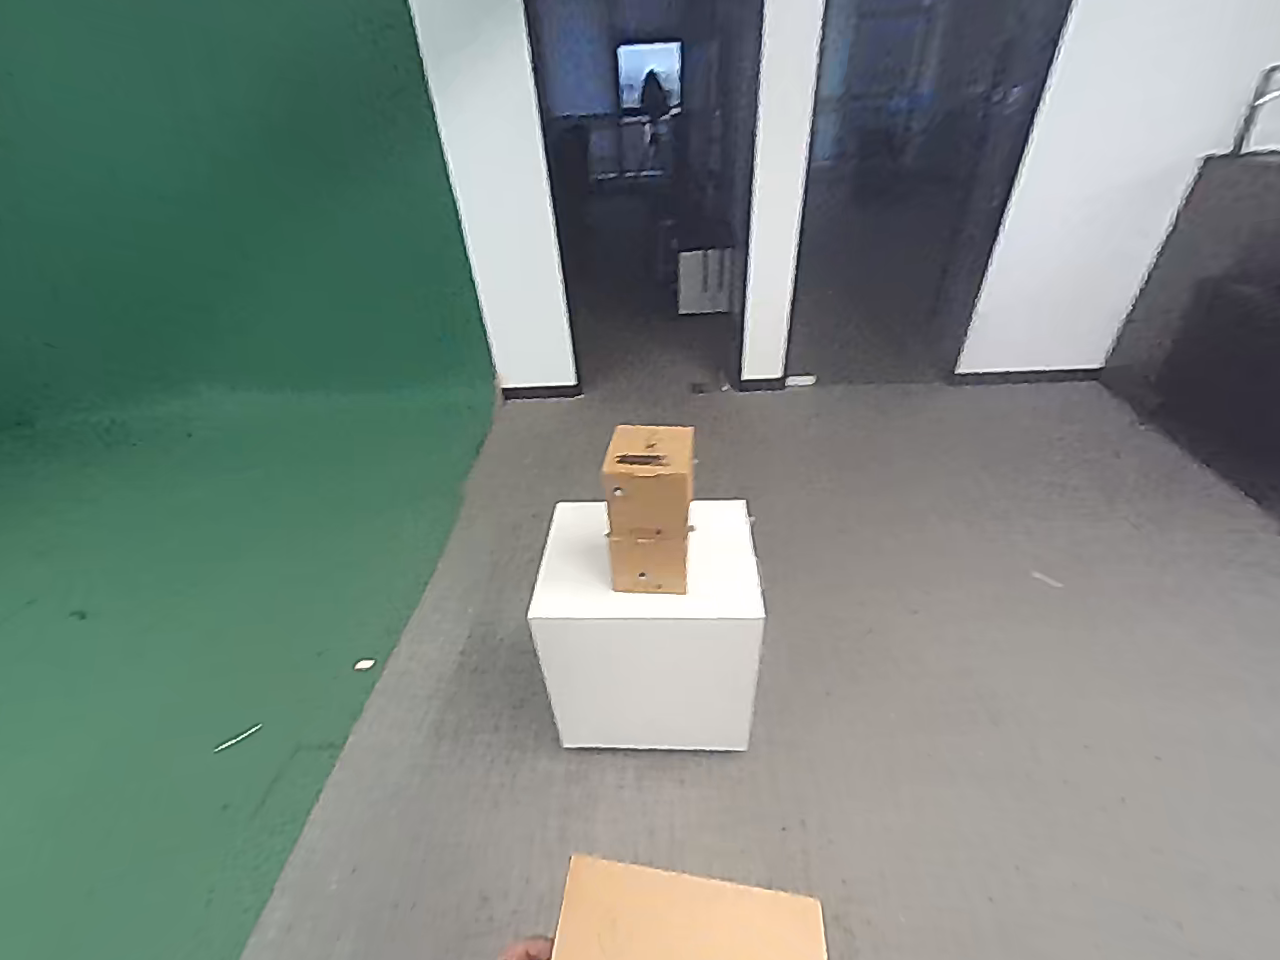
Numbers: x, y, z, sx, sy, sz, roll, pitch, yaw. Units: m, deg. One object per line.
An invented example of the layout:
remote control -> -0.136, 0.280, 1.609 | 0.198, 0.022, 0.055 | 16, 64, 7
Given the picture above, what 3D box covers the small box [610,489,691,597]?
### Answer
small box -> 0.030, 0.139, 1.218 | 0.168, 0.176, 0.179 | 0, 35, 6
